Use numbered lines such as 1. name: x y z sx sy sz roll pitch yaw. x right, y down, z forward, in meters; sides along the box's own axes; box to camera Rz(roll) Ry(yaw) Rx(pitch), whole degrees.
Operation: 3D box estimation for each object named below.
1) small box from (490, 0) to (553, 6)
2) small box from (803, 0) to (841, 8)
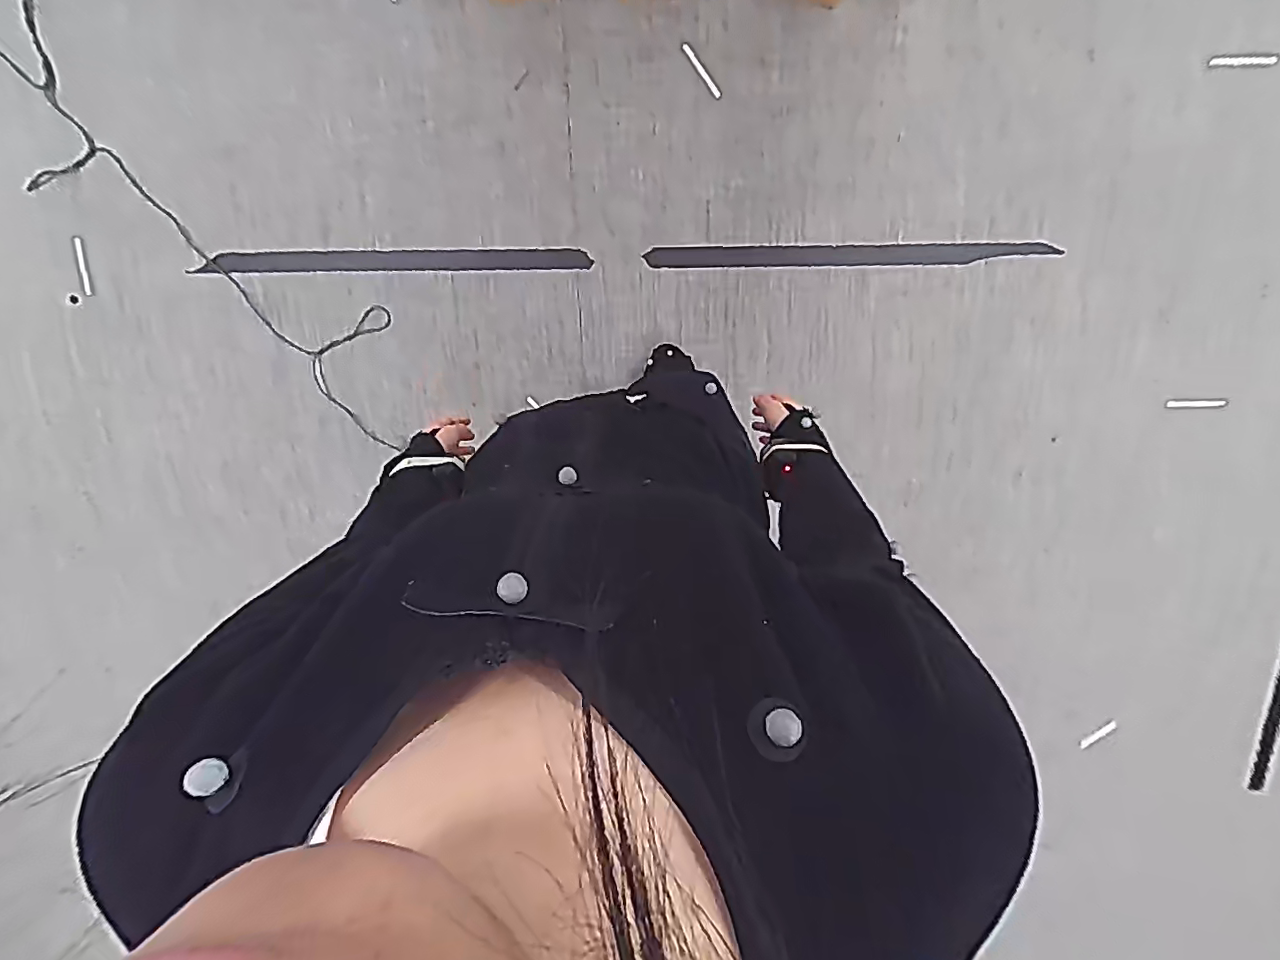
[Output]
1. small box: -0.276 -1.171 1.154 0.168 0.176 0.179 1 101 0
2. small box: 0.398 -1.163 1.153 0.179 0.176 0.168 16 103 -2
